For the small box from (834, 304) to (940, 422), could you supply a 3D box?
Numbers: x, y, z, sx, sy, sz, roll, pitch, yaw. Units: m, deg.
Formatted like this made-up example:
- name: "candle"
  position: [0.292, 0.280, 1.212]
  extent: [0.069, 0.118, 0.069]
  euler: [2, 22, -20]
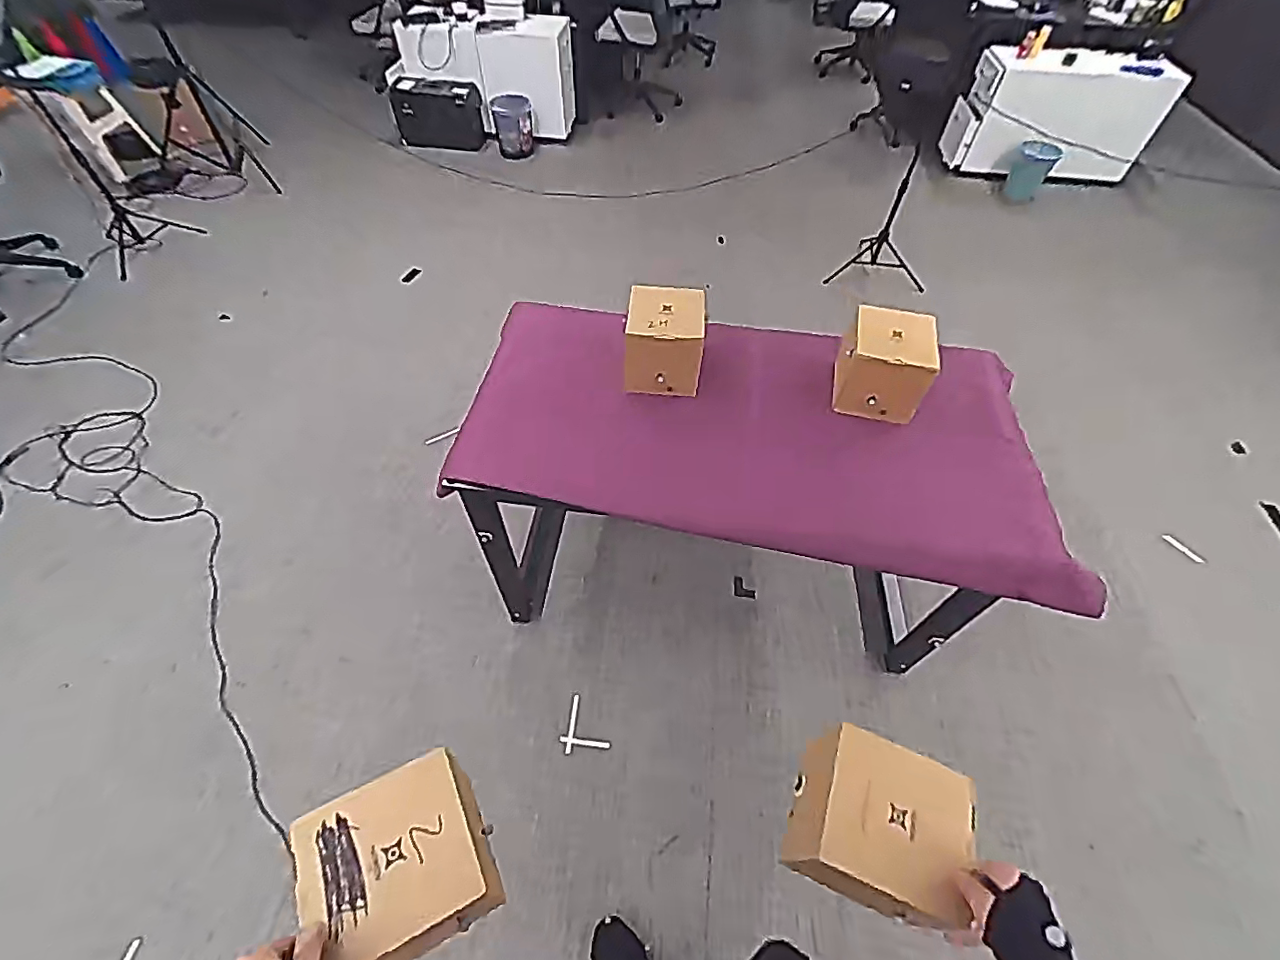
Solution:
- name: "small box"
  position: [0.540, -0.259, 1.202]
  extent: [0.168, 0.176, 0.179]
  euler: [12, 55, 8]

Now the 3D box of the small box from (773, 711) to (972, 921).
- name: "small box"
  position: [0.298, 0.435, 0.710]
  extent: [0.179, 0.176, 0.168]
  euler: [22, 54, 8]

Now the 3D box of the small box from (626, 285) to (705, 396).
- name: "small box"
  position: [0.056, -0.316, 1.231]
  extent: [0.168, 0.176, 0.179]
  euler: [4, 54, 2]
